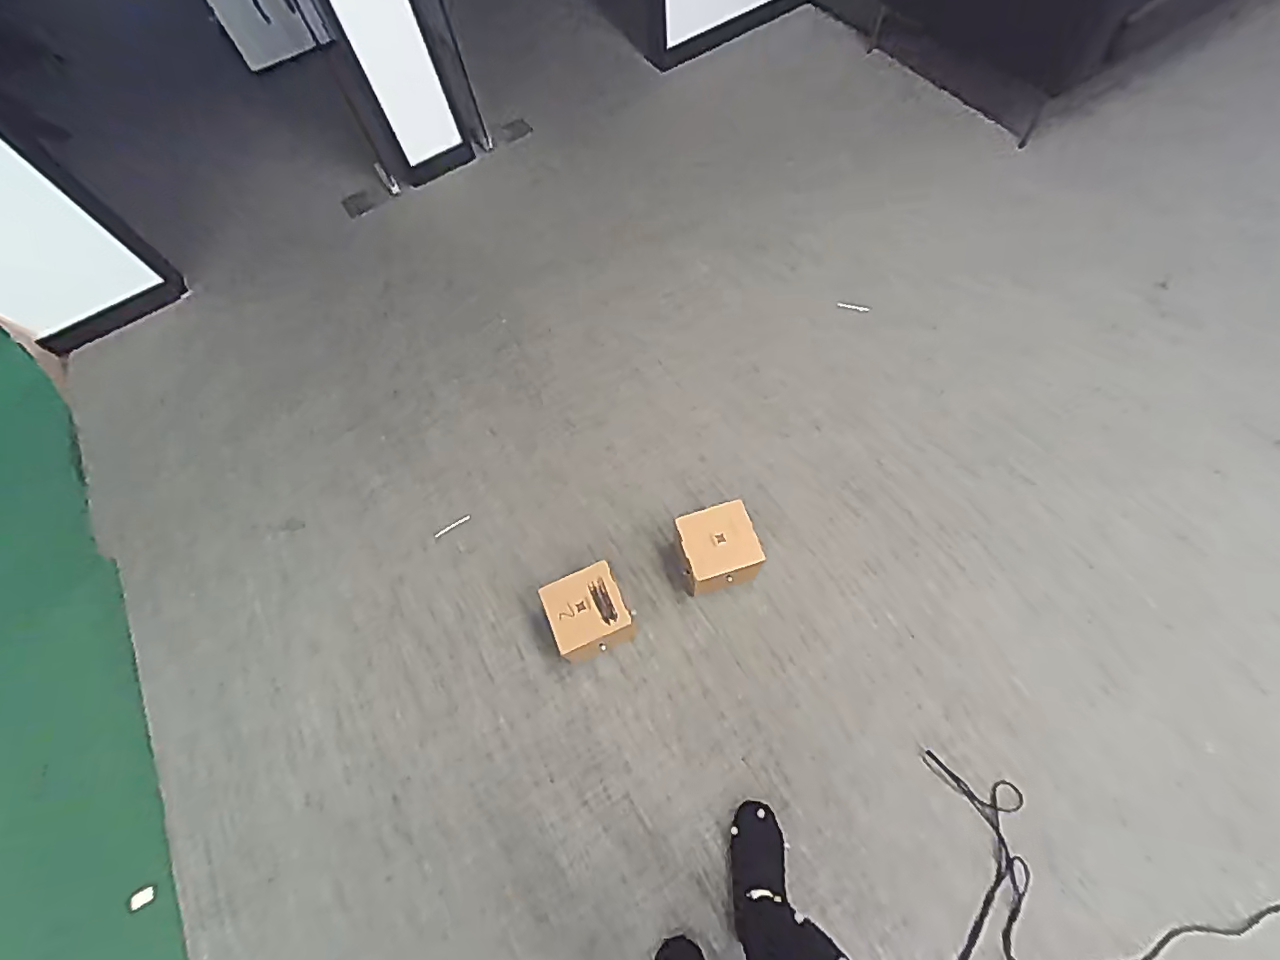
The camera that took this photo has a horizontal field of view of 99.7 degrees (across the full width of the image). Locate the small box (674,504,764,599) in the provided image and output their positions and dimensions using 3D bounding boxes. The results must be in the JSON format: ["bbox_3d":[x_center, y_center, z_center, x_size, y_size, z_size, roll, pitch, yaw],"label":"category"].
[{"bbox_3d":[0.193,0.186,1.353,0.179,0.176,0.168,-16,65,-3],"label":"small box"}]
